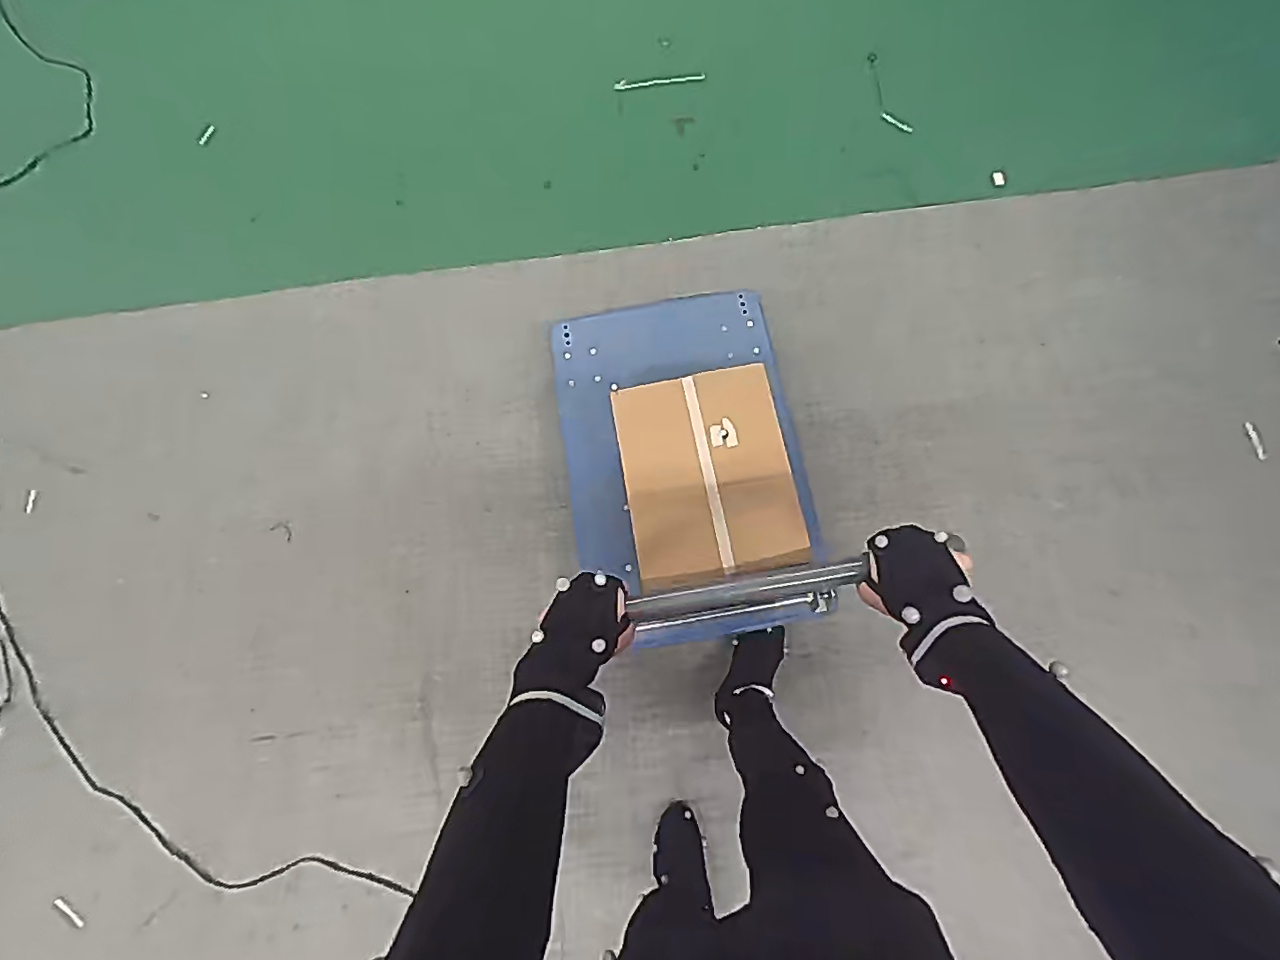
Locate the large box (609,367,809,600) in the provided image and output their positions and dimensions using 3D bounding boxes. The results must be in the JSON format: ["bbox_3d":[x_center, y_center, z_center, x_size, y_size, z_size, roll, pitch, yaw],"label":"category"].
[{"bbox_3d":[0.135,0.027,1.182,0.320,0.320,0.408,-11,74,1],"label":"large box"}]
